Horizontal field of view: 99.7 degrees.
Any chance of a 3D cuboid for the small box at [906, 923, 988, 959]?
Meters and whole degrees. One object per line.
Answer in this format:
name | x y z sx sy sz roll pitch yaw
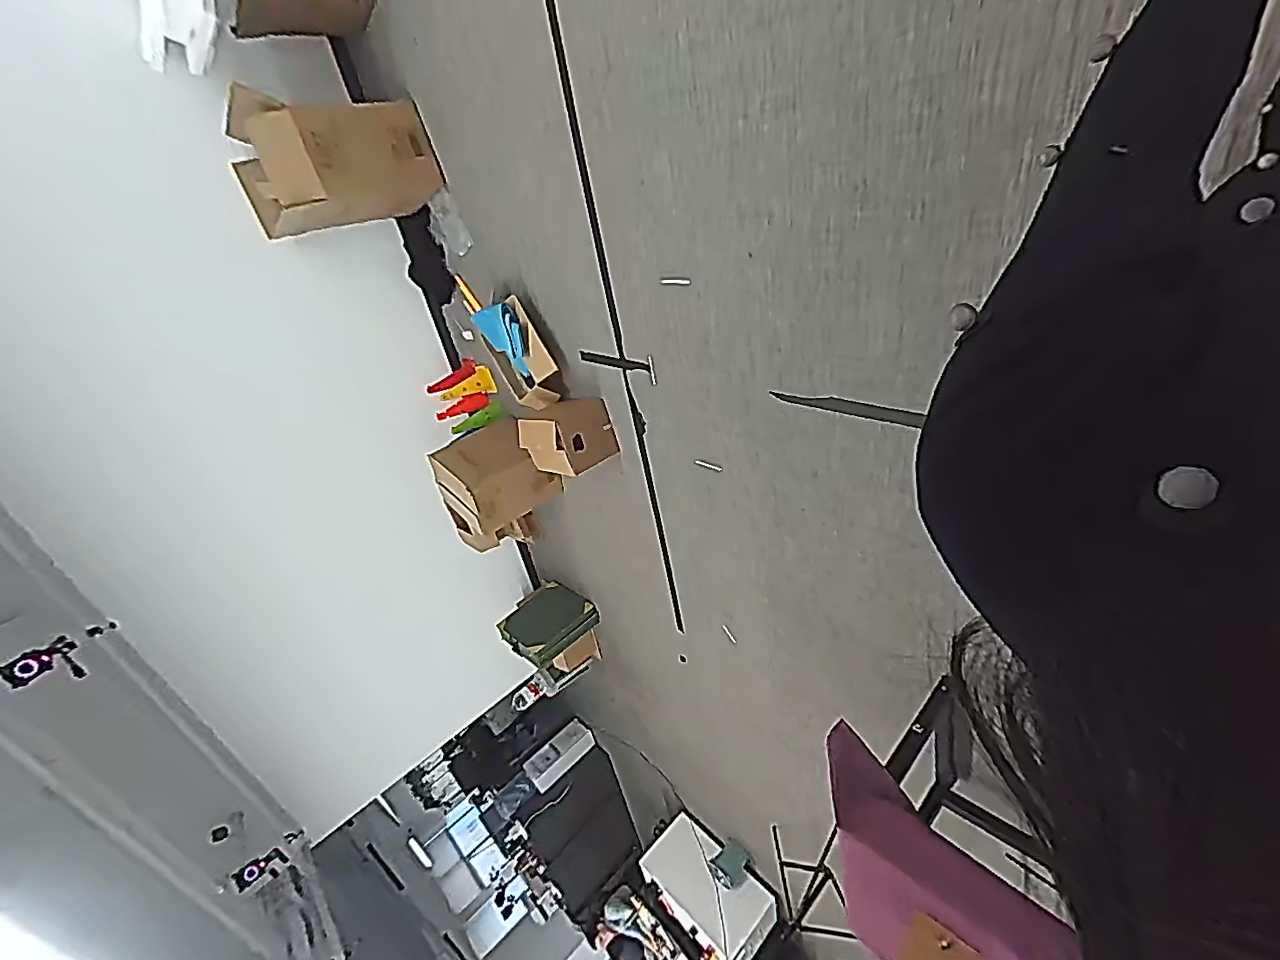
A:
small box | 0.804 1.305 1.398 0.179 0.176 0.168 15 129 49
